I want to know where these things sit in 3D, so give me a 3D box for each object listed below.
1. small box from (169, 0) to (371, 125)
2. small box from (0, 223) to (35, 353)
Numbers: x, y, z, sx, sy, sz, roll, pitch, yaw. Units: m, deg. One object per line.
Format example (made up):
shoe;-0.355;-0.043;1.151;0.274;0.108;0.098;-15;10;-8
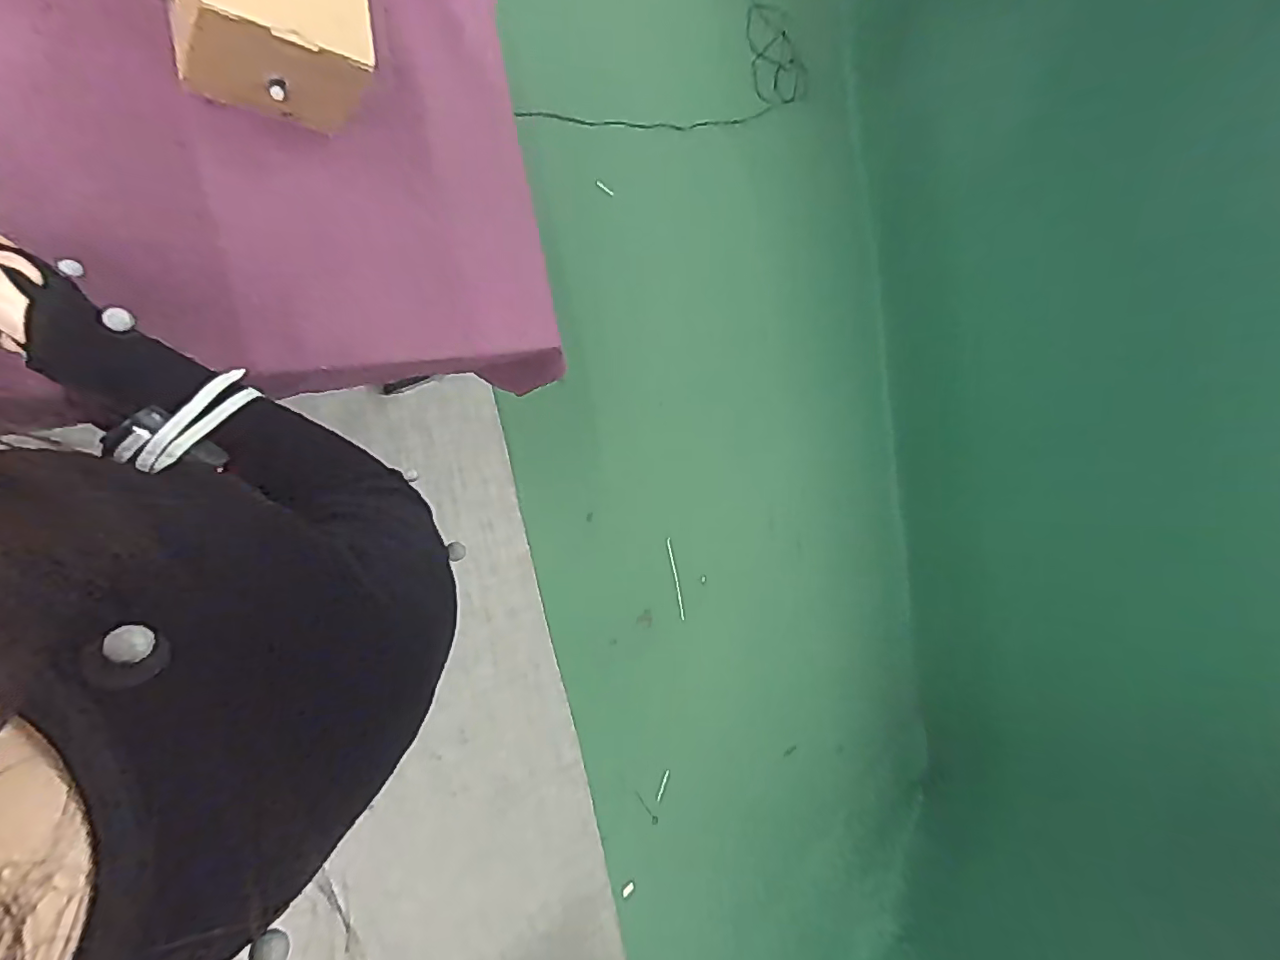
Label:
small box;-0.433;-0.557;0.627;0.168;0.176;0.179;-9;96;-44
small box;-0.555;-0.182;0.355;0.168;0.176;0.179;-19;102;-40
